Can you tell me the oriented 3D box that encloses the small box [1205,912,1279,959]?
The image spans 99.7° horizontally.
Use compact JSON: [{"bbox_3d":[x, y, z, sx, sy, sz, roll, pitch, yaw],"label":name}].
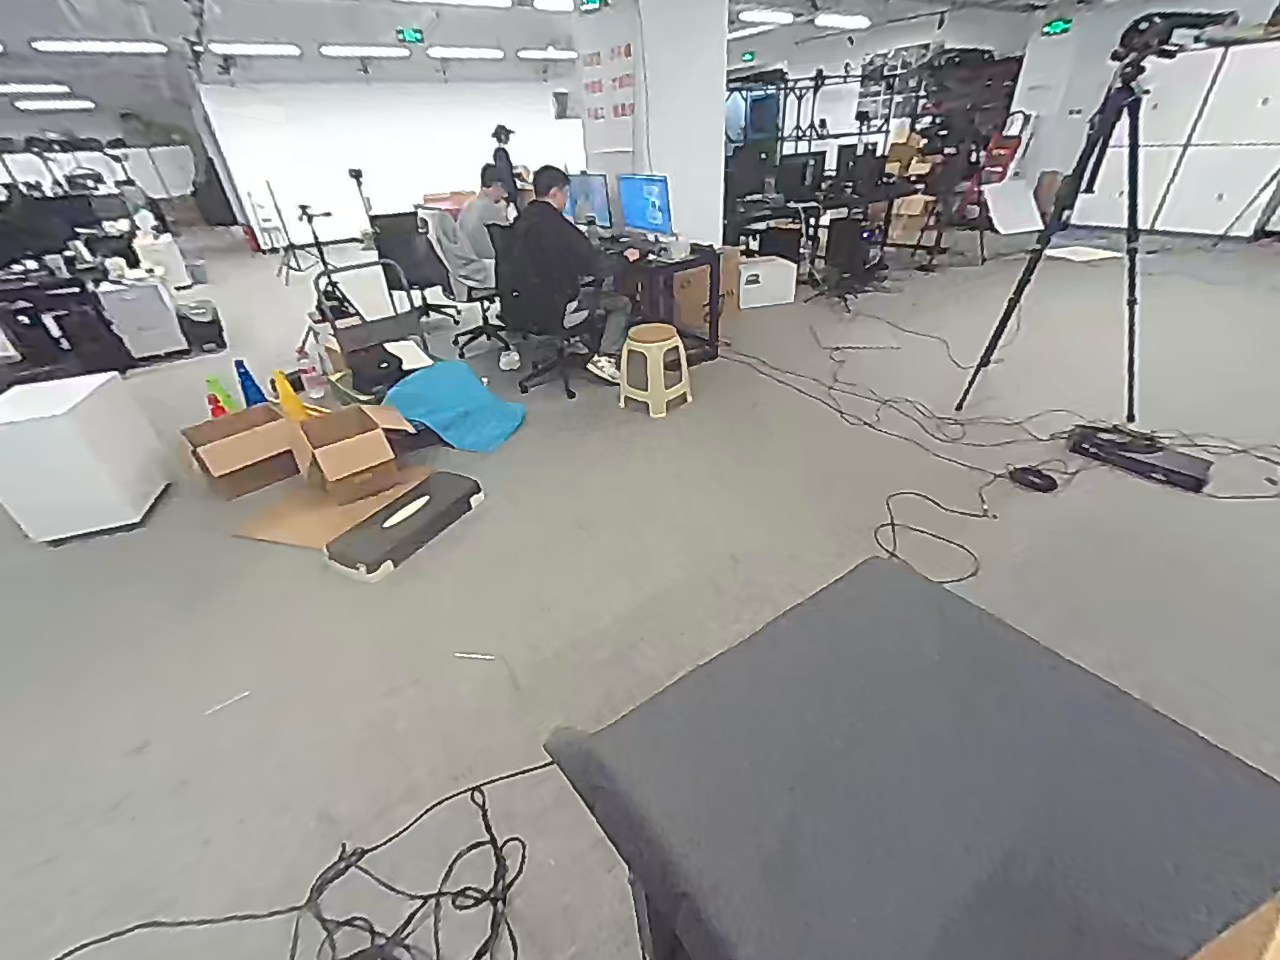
[{"bbox_3d":[0.493,0.448,0.368,0.179,0.176,0.168,-23,37,-28],"label":"small box"}]
